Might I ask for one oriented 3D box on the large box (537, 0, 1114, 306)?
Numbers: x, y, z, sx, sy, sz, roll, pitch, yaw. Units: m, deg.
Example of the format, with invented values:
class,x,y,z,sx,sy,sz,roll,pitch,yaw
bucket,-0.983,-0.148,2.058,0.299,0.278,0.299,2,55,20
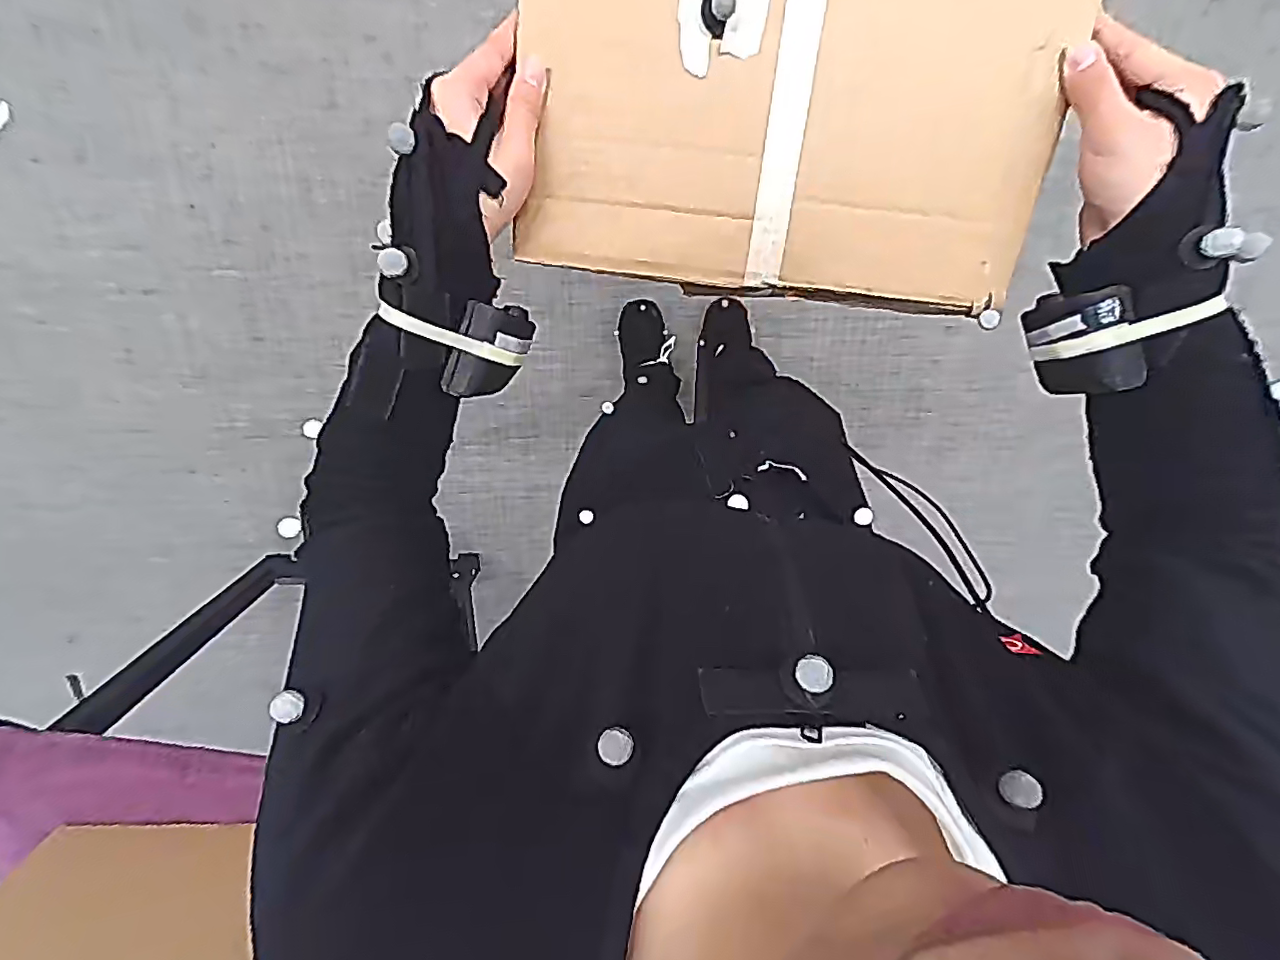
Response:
class,x,y,z,sx,sy,sz,roll,pitch,yaw
large box,0.107,-0.361,0.409,0.320,0.320,0.408,6,111,1
